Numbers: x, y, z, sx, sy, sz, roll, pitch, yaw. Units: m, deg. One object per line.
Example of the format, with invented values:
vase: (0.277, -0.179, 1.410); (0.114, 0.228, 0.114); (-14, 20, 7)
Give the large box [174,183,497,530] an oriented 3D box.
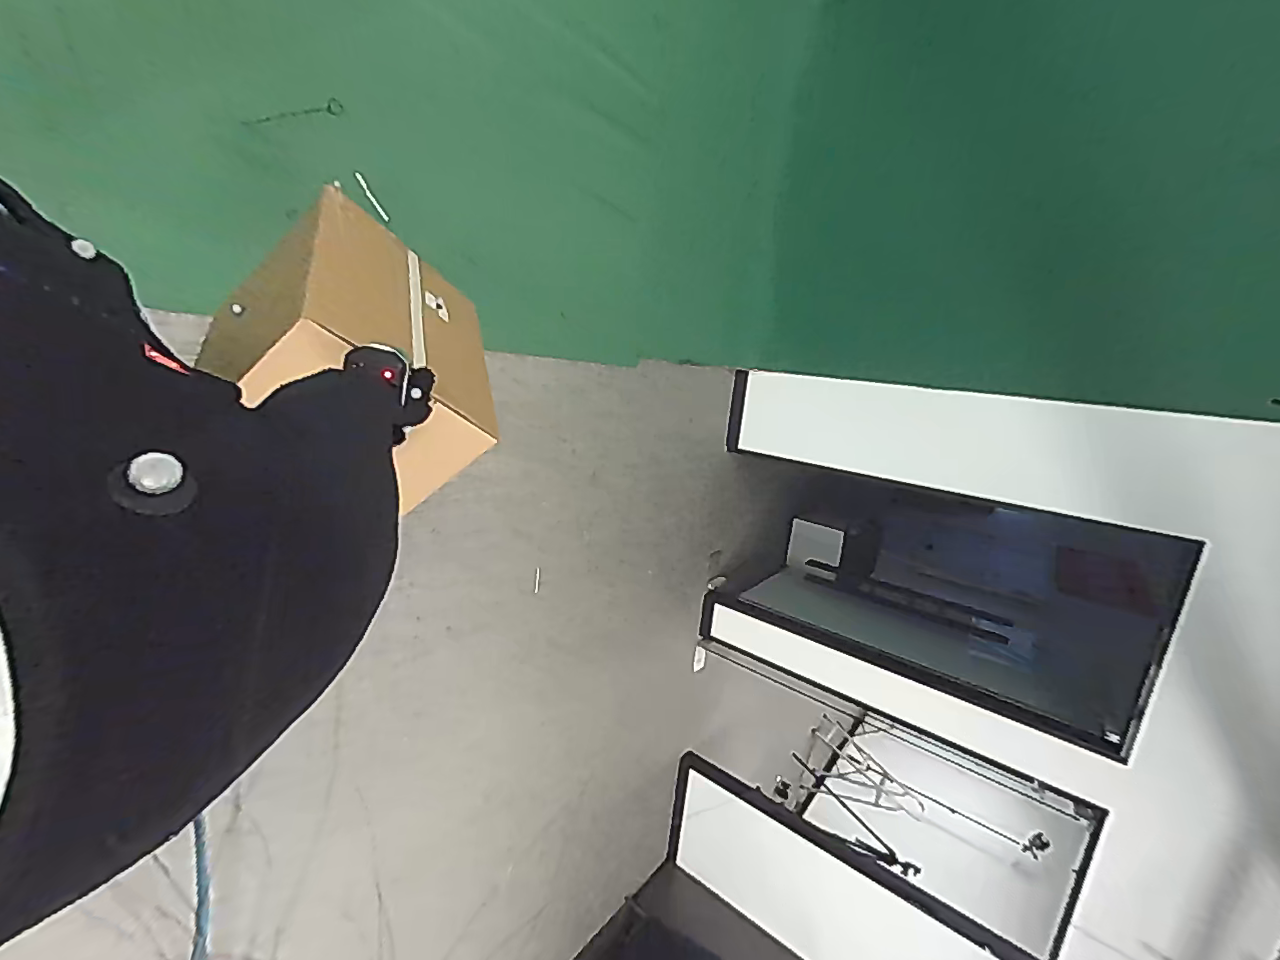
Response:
large box: (-0.482, -0.190, 0.900); (0.320, 0.408, 0.320); (-34, 140, 15)
